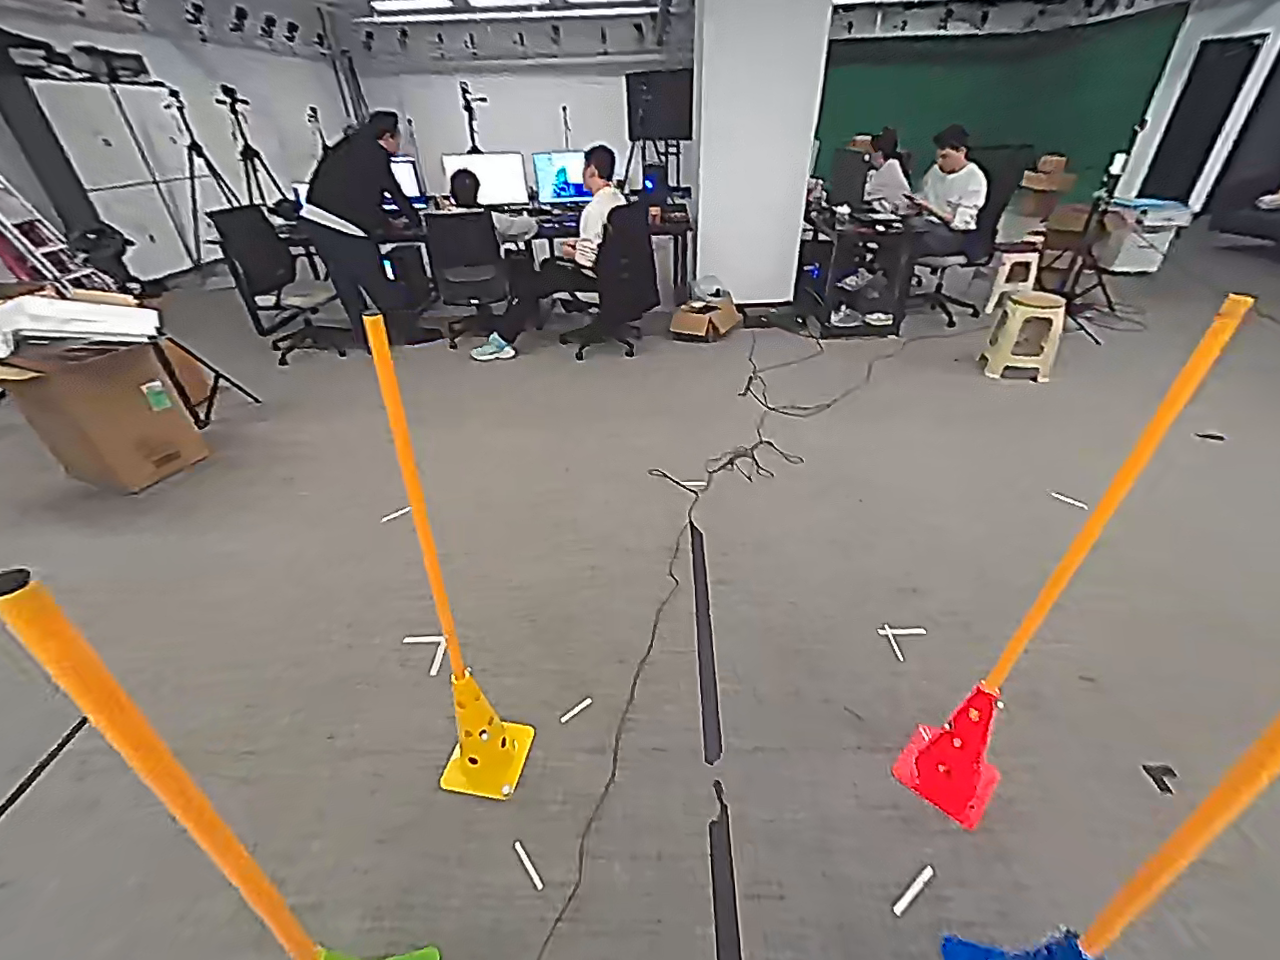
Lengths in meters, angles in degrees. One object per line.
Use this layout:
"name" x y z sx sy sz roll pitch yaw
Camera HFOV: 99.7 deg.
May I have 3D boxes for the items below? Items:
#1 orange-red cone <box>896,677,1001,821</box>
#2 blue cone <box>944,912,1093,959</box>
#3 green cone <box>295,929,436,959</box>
"orange-red cone" 0.772 0.591 1.274 0.199 0.360 0.198 -30 42 -33
"blue cone" 0.681 0.846 0.922 0.193 0.380 0.192 8 34 15
"green cone" -0.501 0.872 0.928 0.200 0.368 0.202 -8 33 -9
